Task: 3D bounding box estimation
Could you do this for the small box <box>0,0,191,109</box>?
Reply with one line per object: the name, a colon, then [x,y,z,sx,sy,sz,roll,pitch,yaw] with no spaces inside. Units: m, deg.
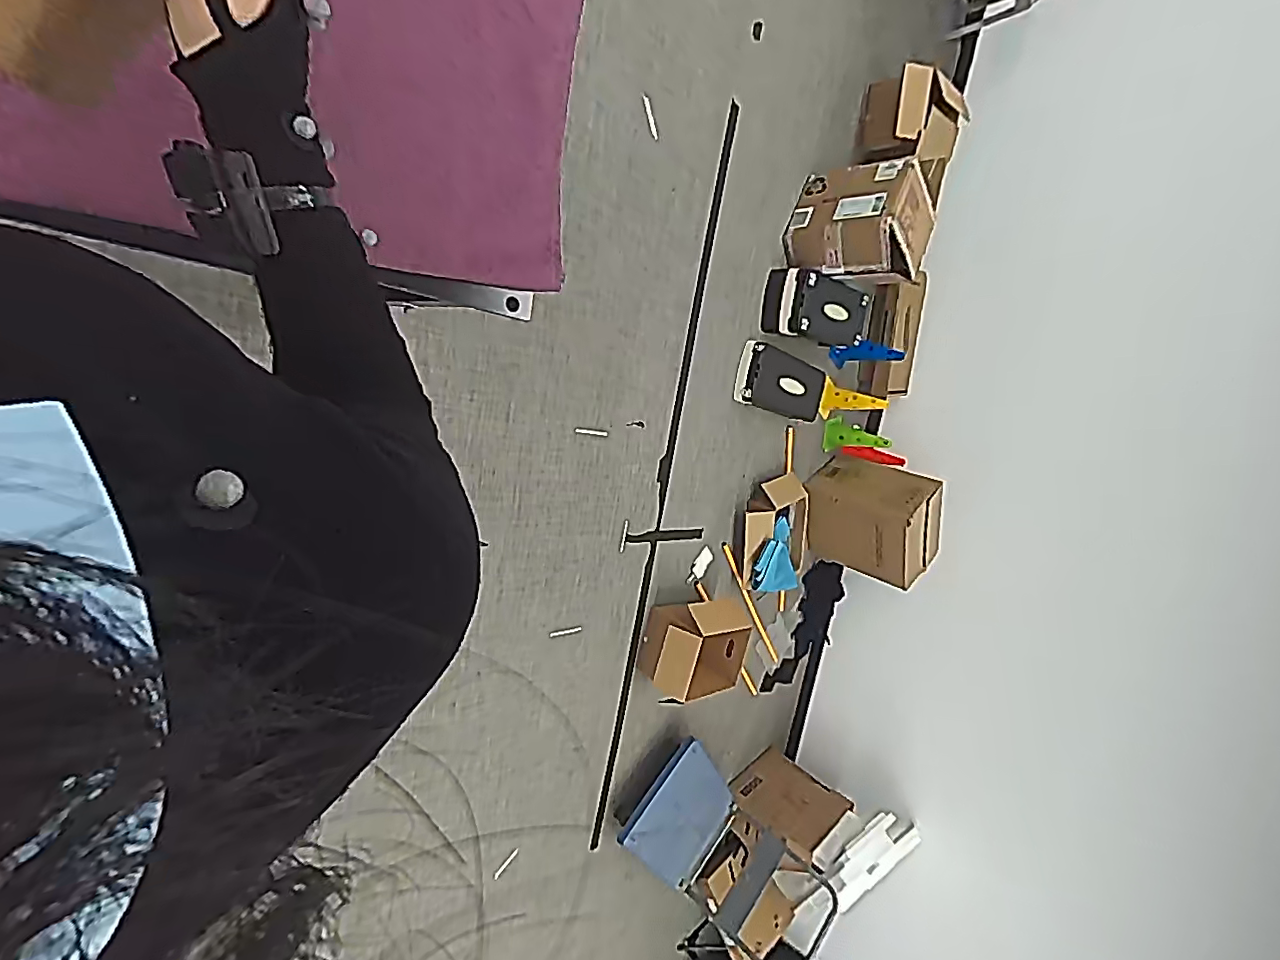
small box: [-0.355,-0.342,0.267,0.168,0.176,0.179,38,88,-23]
